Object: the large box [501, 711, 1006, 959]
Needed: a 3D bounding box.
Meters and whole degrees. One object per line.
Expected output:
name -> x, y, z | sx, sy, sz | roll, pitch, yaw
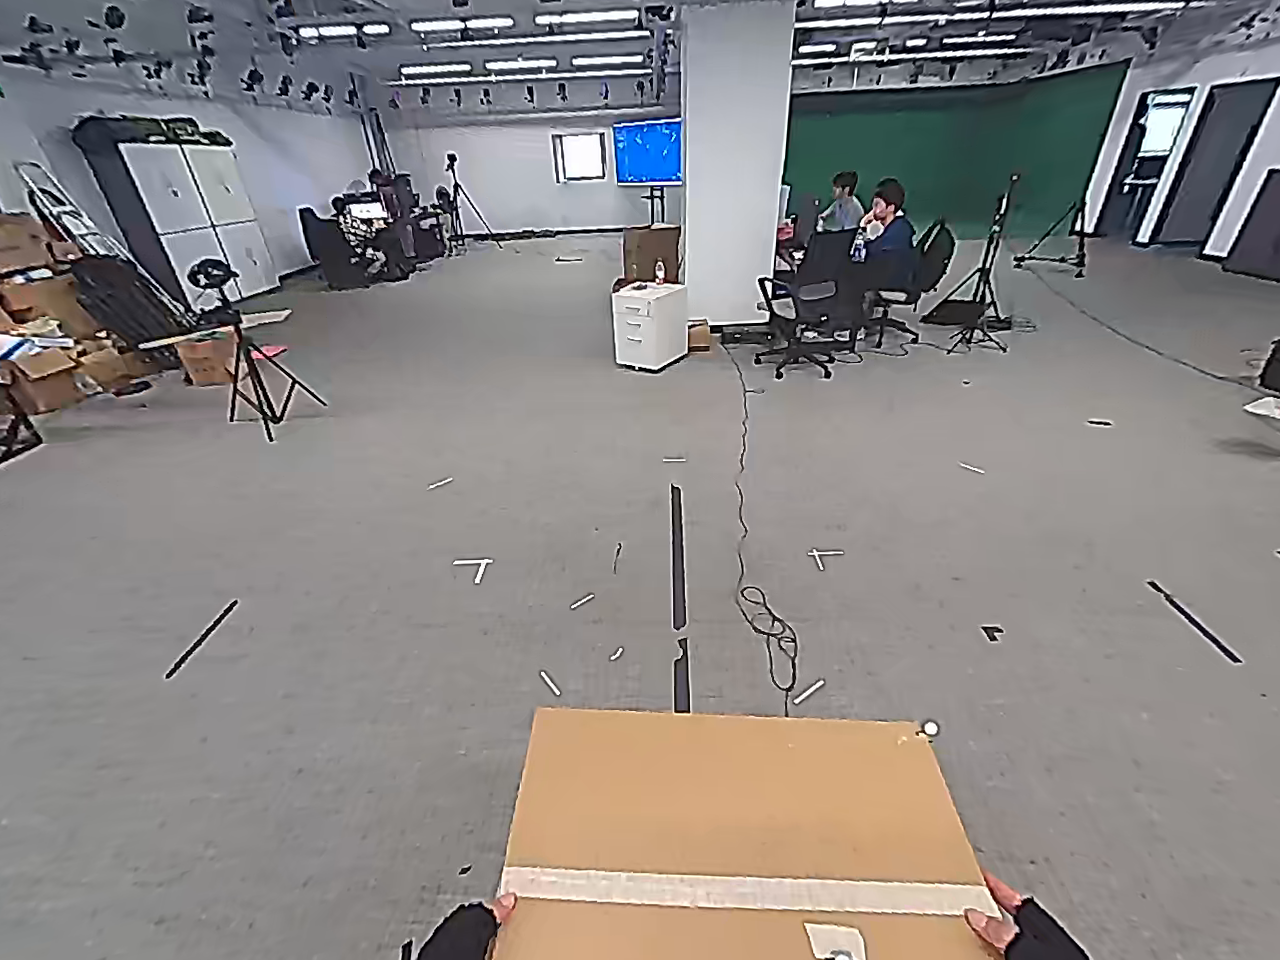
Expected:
large box -> 0.087, 0.466, 0.548 | 0.408, 0.320, 0.320 | 2, 37, 1
